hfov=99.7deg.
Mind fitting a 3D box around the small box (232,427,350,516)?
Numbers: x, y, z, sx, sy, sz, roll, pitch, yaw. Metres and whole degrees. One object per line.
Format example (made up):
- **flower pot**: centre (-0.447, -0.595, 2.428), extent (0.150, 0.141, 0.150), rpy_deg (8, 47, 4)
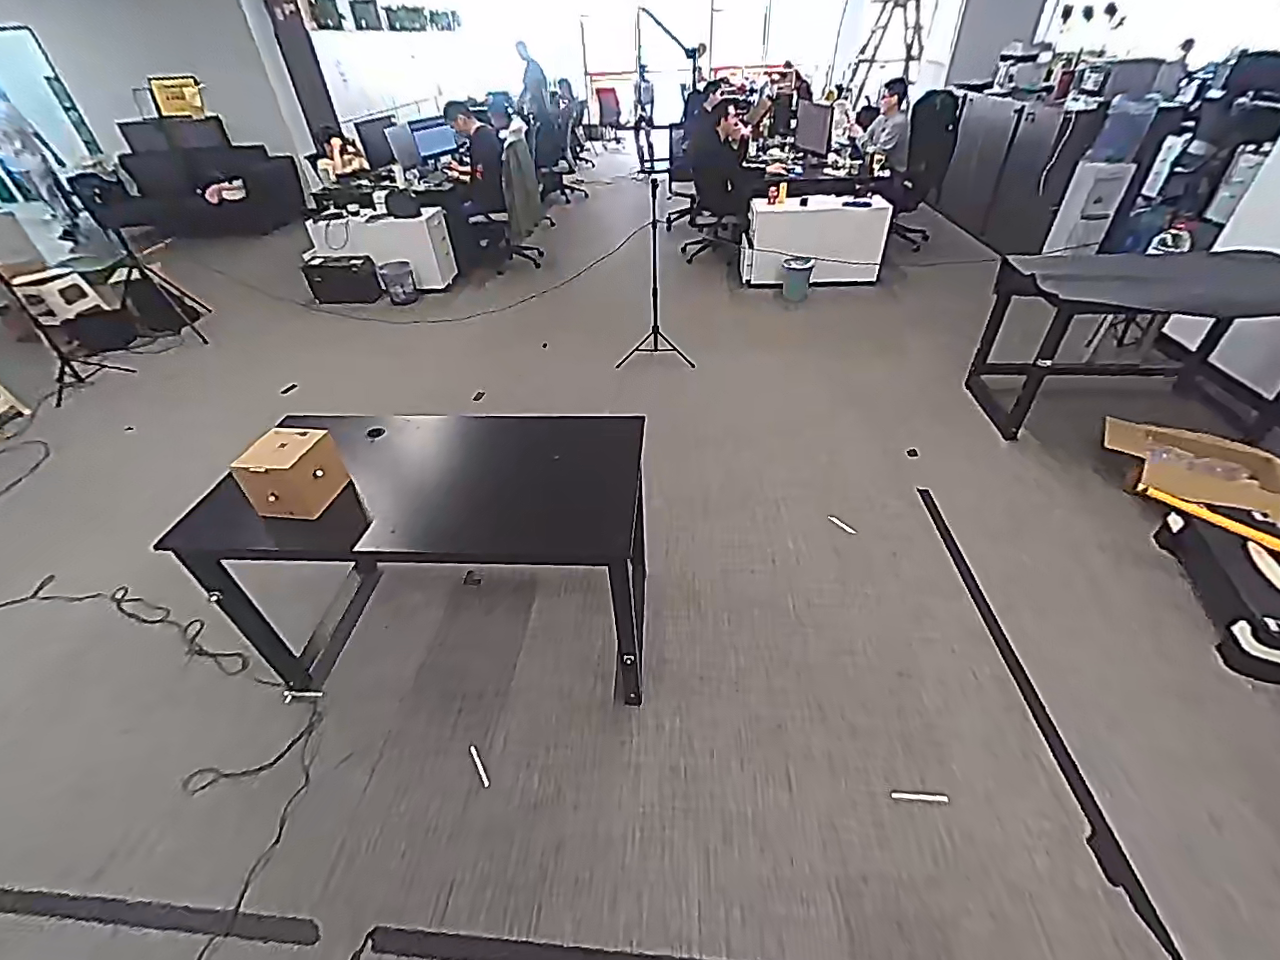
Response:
- **small box**: centre (-0.906, -0.022, 1.427), extent (0.168, 0.176, 0.179), rpy_deg (3, 40, 8)
